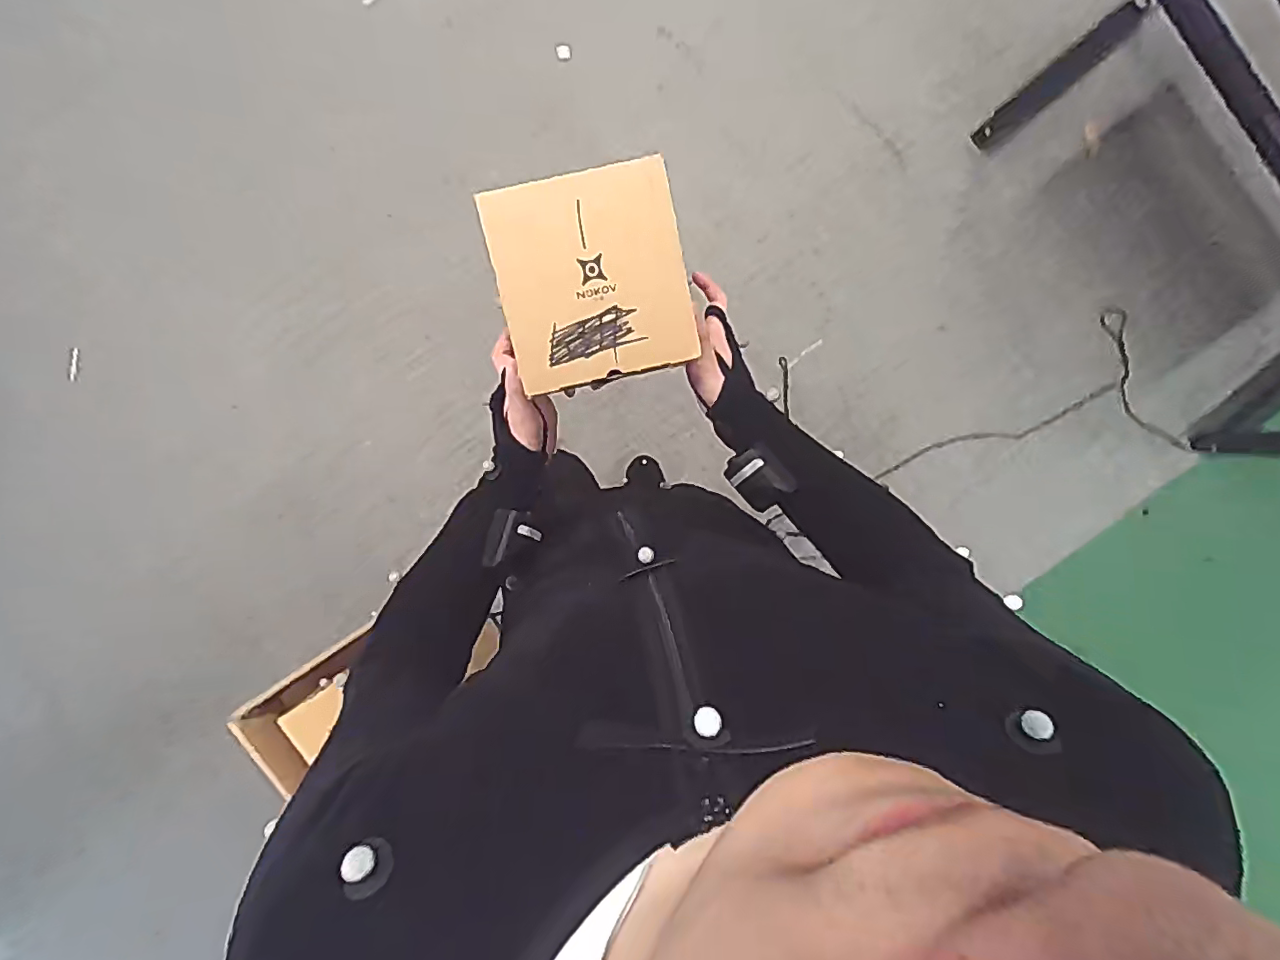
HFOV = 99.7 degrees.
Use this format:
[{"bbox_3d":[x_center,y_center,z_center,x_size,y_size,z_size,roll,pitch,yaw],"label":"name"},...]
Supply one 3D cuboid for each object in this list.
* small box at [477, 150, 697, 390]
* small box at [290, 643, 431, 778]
[{"bbox_3d":[-0.045,-0.198,0.550,0.168,0.176,0.179,-12,102,-1],"label":"small box"},{"bbox_3d":[-0.594,0.490,1.173,0.179,0.176,0.168,-34,94,2],"label":"small box"}]
